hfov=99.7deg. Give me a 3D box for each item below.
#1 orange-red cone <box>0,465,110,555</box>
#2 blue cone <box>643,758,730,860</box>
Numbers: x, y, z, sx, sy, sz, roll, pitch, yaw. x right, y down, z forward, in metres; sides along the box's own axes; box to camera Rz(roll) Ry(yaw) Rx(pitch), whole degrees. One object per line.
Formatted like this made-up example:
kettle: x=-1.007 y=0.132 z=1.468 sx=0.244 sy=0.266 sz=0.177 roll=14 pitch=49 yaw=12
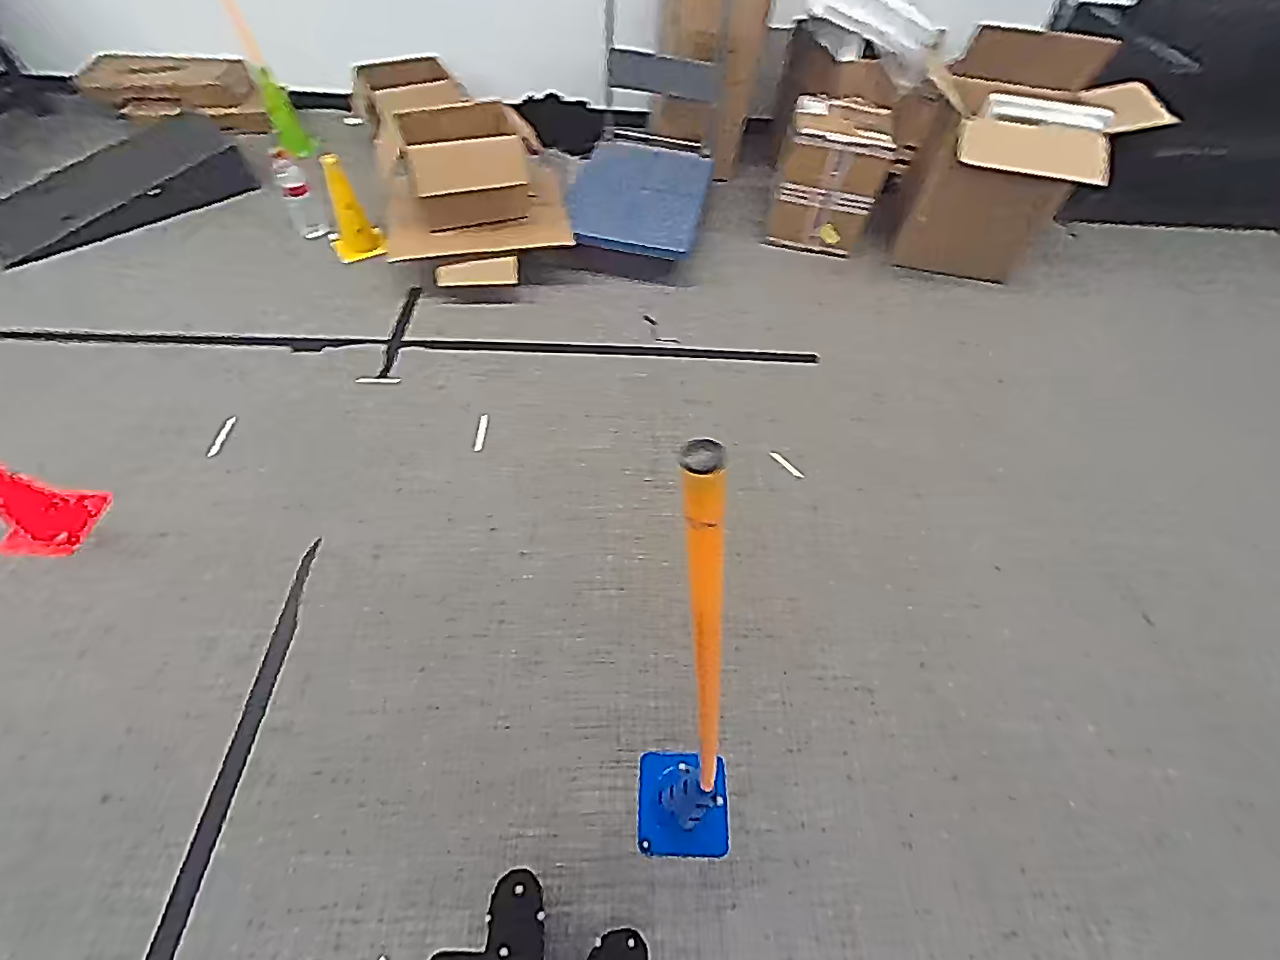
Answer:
orange-red cone: x=-1.603 y=0.013 z=1.357 sx=0.198 sy=0.360 sz=0.199 roll=5 pitch=54 yaw=-1
blue cone: x=0.112 y=0.636 z=1.071 sx=0.193 sy=0.380 sz=0.192 roll=4 pitch=55 yaw=-1
